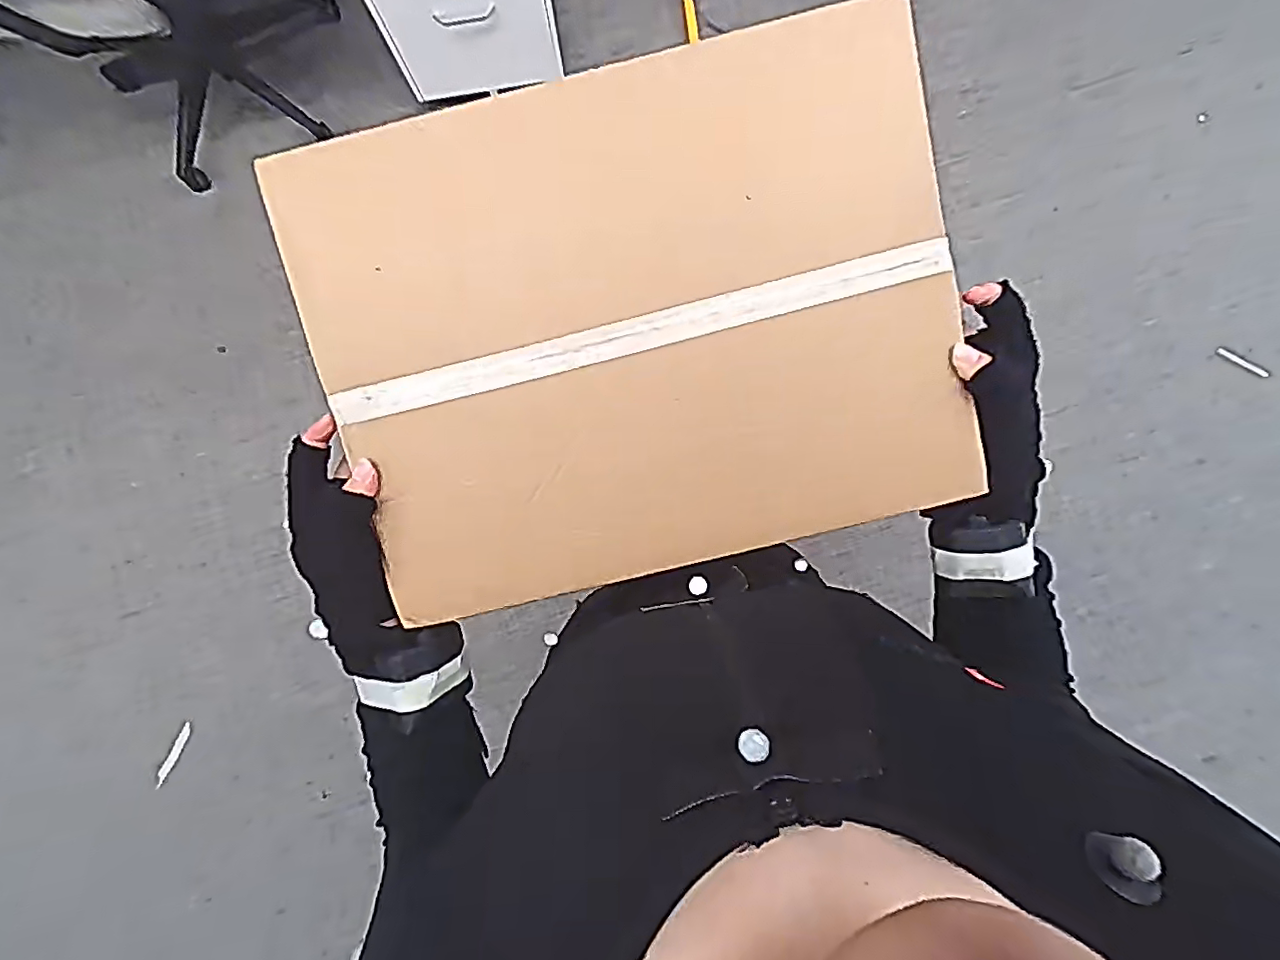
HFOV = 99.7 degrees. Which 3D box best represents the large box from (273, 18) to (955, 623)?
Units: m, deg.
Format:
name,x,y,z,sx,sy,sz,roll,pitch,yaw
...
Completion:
name,x,y,z,sx,sy,sz,roll,pitch,yaw
large box,-0.007,-0.113,0.506,0.408,0.320,0.320,-14,97,2
